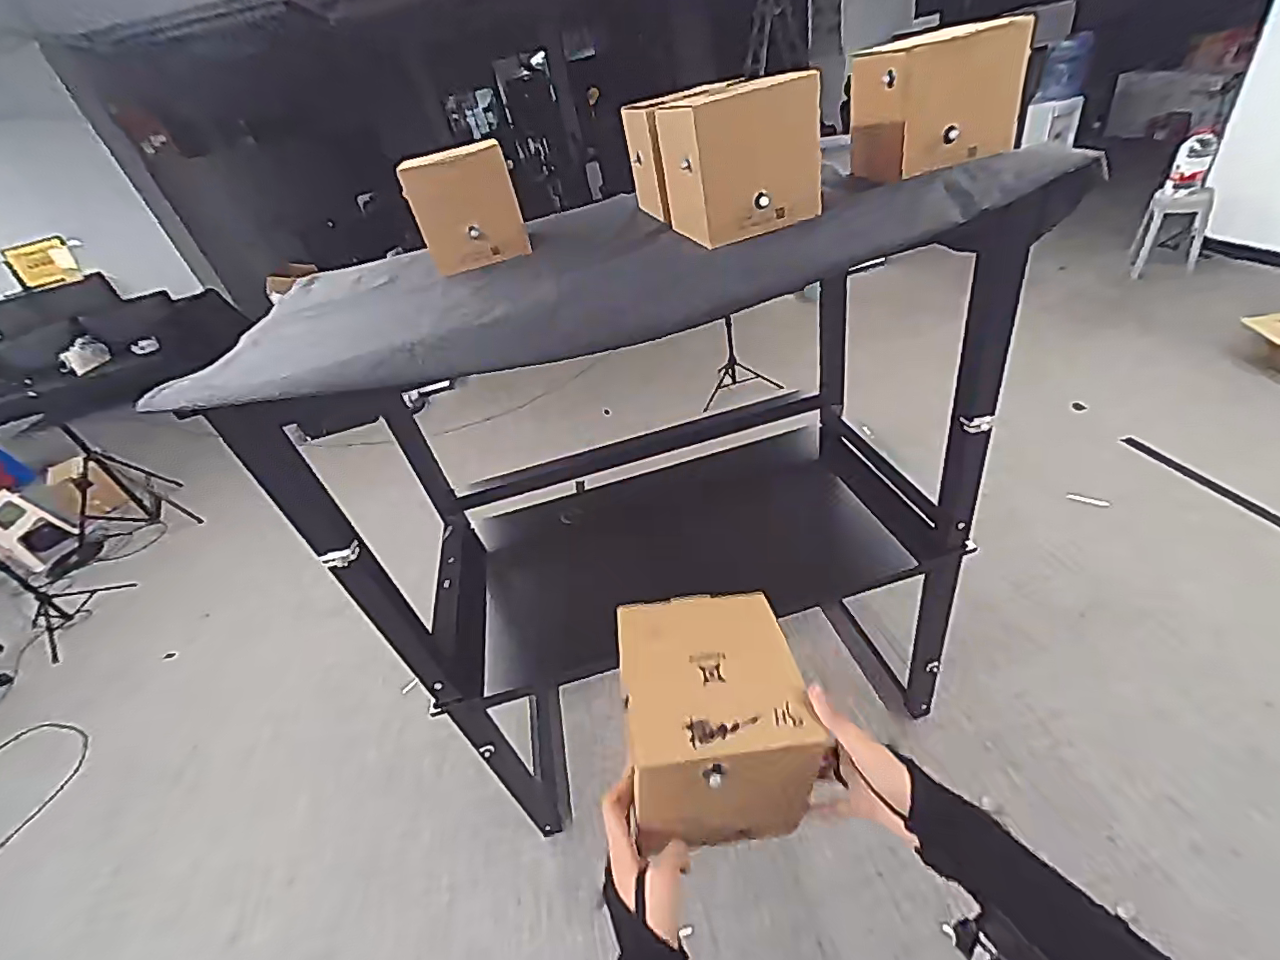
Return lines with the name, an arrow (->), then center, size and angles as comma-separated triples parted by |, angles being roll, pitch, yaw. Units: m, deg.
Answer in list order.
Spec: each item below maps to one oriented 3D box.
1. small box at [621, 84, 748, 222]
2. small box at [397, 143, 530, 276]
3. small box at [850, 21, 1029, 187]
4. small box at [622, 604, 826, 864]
small box -> 0.079, -0.566, 0.943 | 0.168, 0.176, 0.179 | -18, 36, -5
small box -> -0.303, -0.478, 0.955 | 0.168, 0.176, 0.179 | -18, 37, -5
small box -> 0.427, -0.554, 0.810 | 0.168, 0.176, 0.179 | -14, 37, 1
small box -> 0.069, 0.256, 0.564 | 0.168, 0.176, 0.179 | -4, 32, -6
